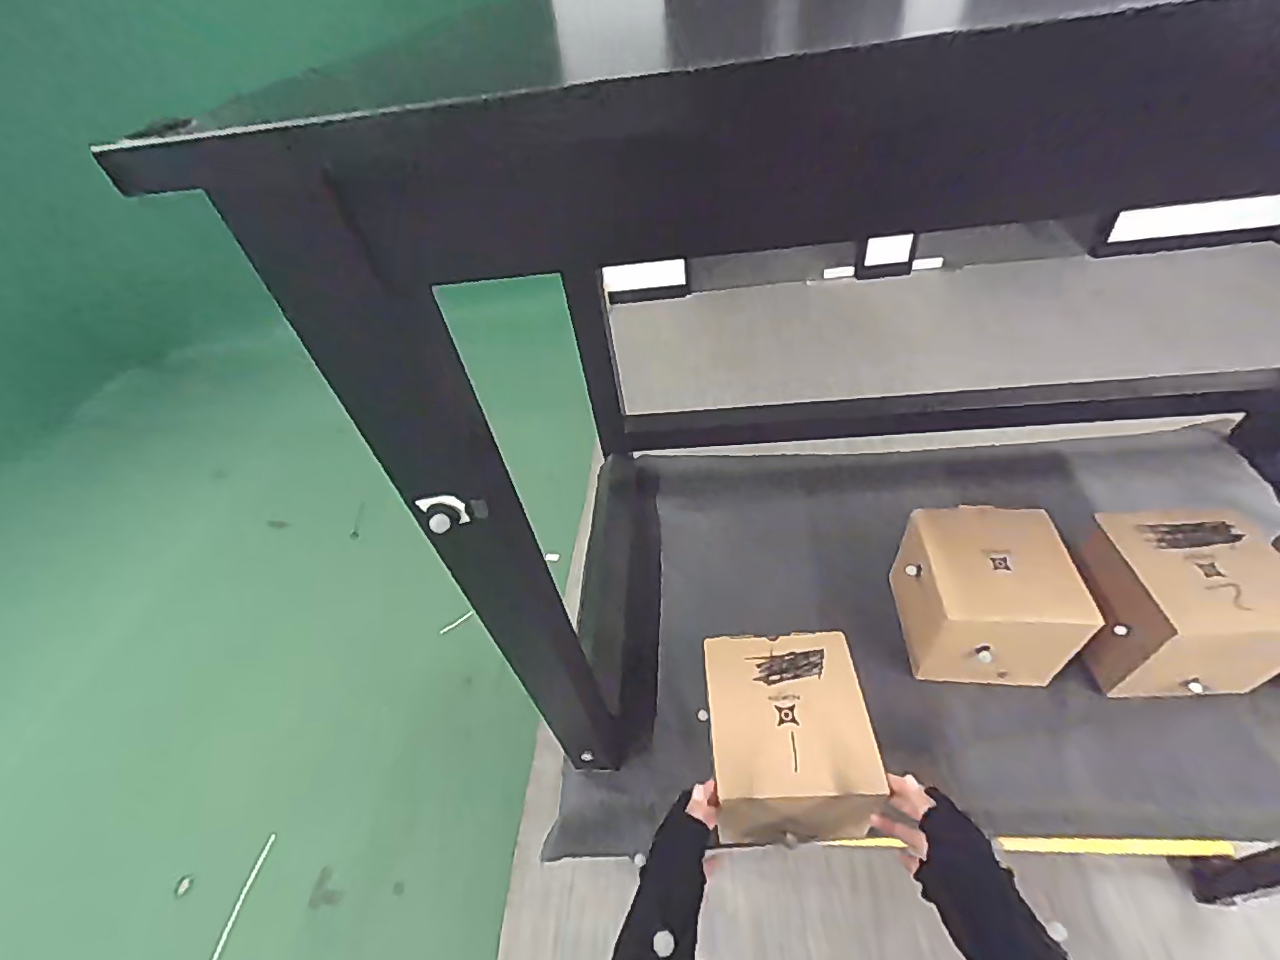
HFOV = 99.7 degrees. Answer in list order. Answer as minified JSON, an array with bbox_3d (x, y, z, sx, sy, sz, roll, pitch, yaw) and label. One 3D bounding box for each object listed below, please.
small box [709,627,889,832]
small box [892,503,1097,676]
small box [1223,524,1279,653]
[{"bbox_3d":[0.169,0.296,0.641,0.168,0.176,0.179,-5,45,5],"label":"small box"},{"bbox_3d":[0.460,0.150,0.738,0.168,0.176,0.179,0,46,10],"label":"small box"},{"bbox_3d":[0.900,0.146,0.656,0.168,0.176,0.179,-4,45,6],"label":"small box"}]
